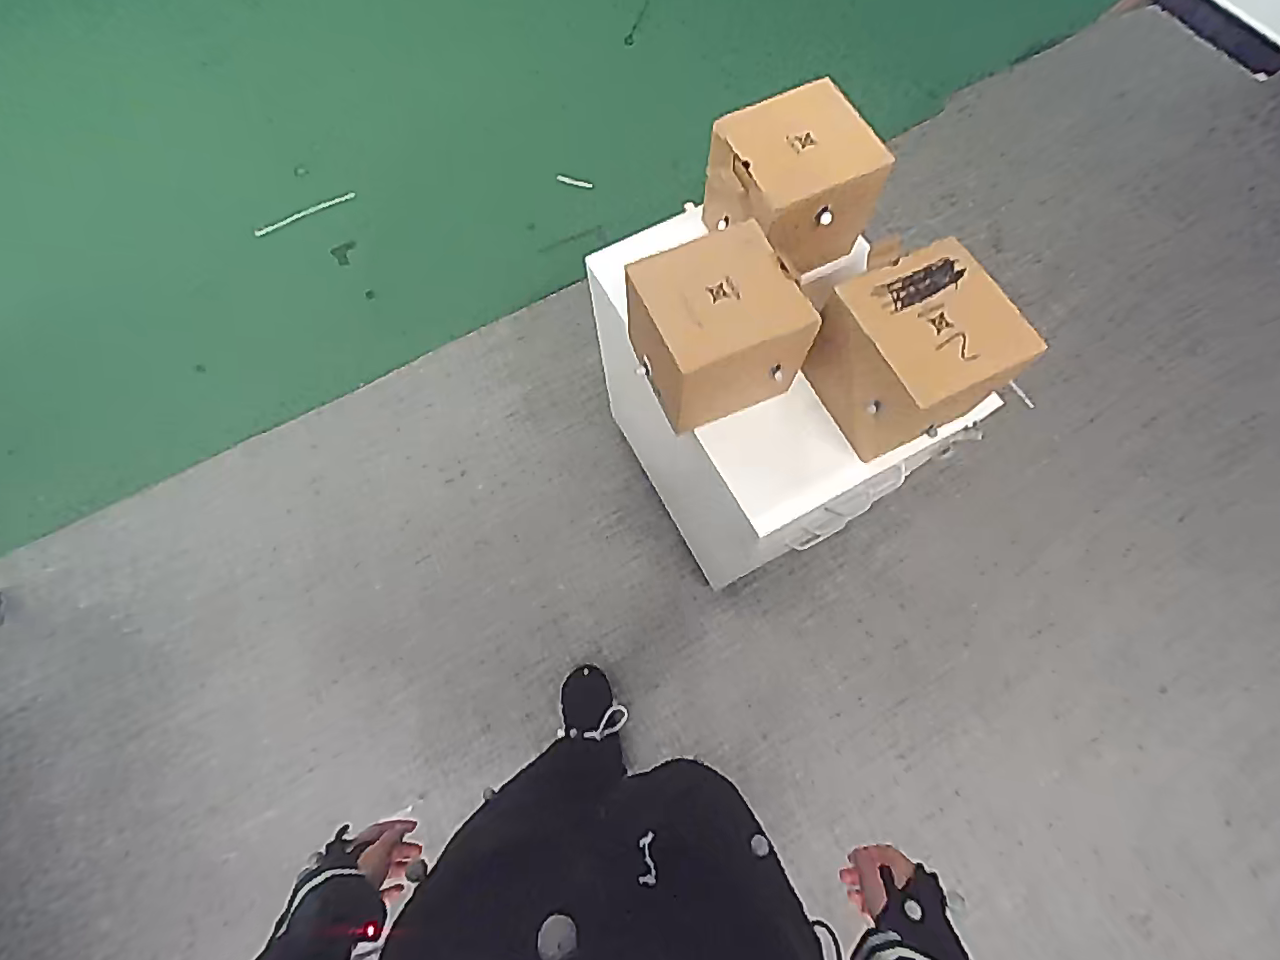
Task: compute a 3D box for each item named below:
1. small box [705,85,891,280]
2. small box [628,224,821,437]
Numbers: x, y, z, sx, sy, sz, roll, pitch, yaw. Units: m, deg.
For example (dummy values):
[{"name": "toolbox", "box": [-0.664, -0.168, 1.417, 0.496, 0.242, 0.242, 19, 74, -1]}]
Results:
[{"name": "small box", "box": [0.208, -0.401, 0.768, 0.179, 0.176, 0.168, -25, 73, -6]}, {"name": "small box", "box": [0.095, -0.182, 0.695, 0.179, 0.176, 0.168, -23, 70, -7]}]
